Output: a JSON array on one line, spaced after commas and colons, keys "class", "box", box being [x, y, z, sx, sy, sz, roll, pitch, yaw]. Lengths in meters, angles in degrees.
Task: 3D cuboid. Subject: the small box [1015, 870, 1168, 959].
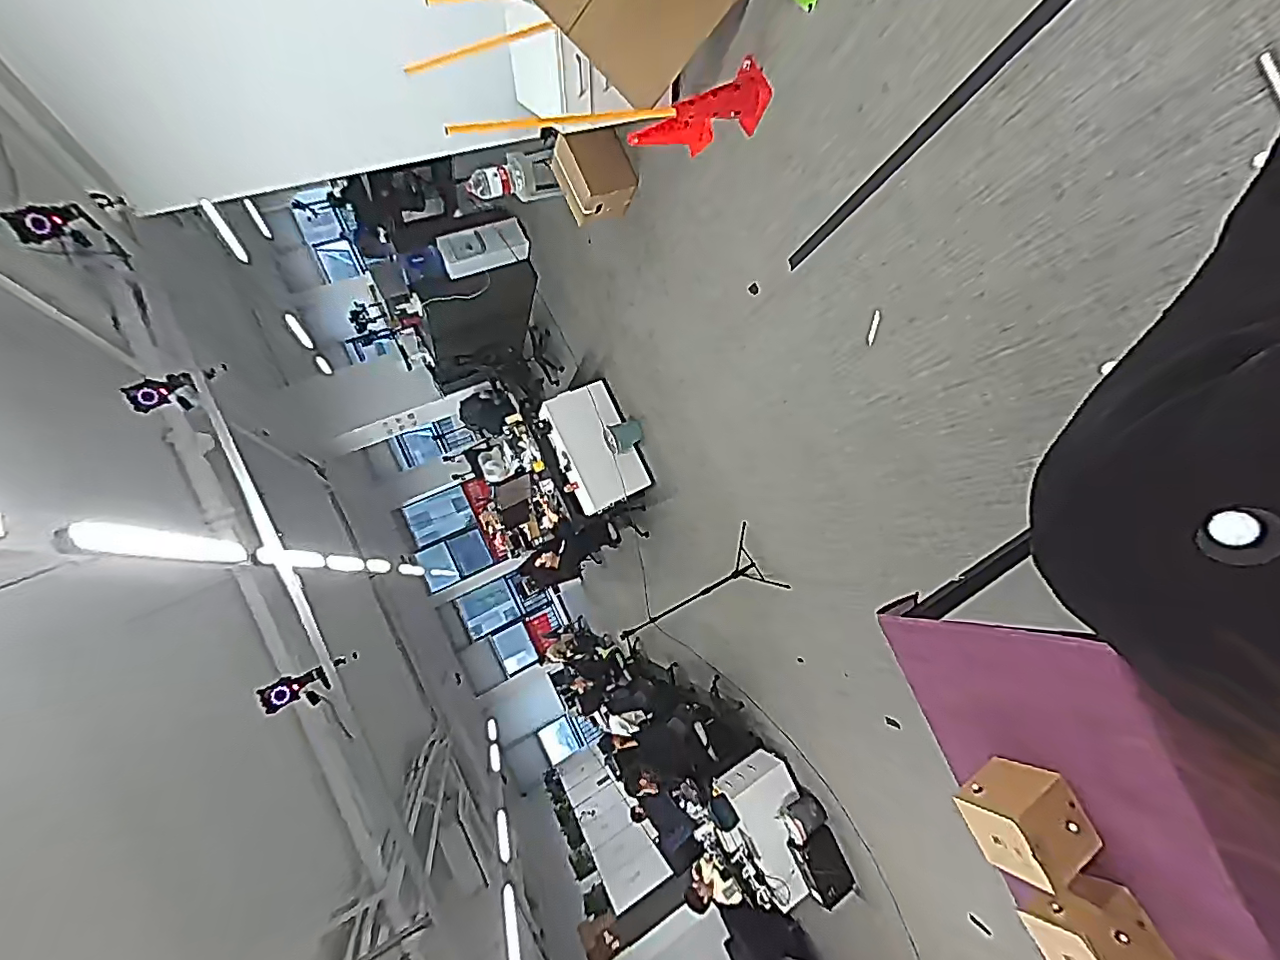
[{"class": "small box", "box": [0.991, 1.002, 1.185, 0.168, 0.176, 0.179, 61, 161, 14]}]

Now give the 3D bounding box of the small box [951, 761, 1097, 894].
[{"class": "small box", "box": [0.867, 0.771, 1.227, 0.168, 0.176, 0.179, 63, 160, 6]}]
